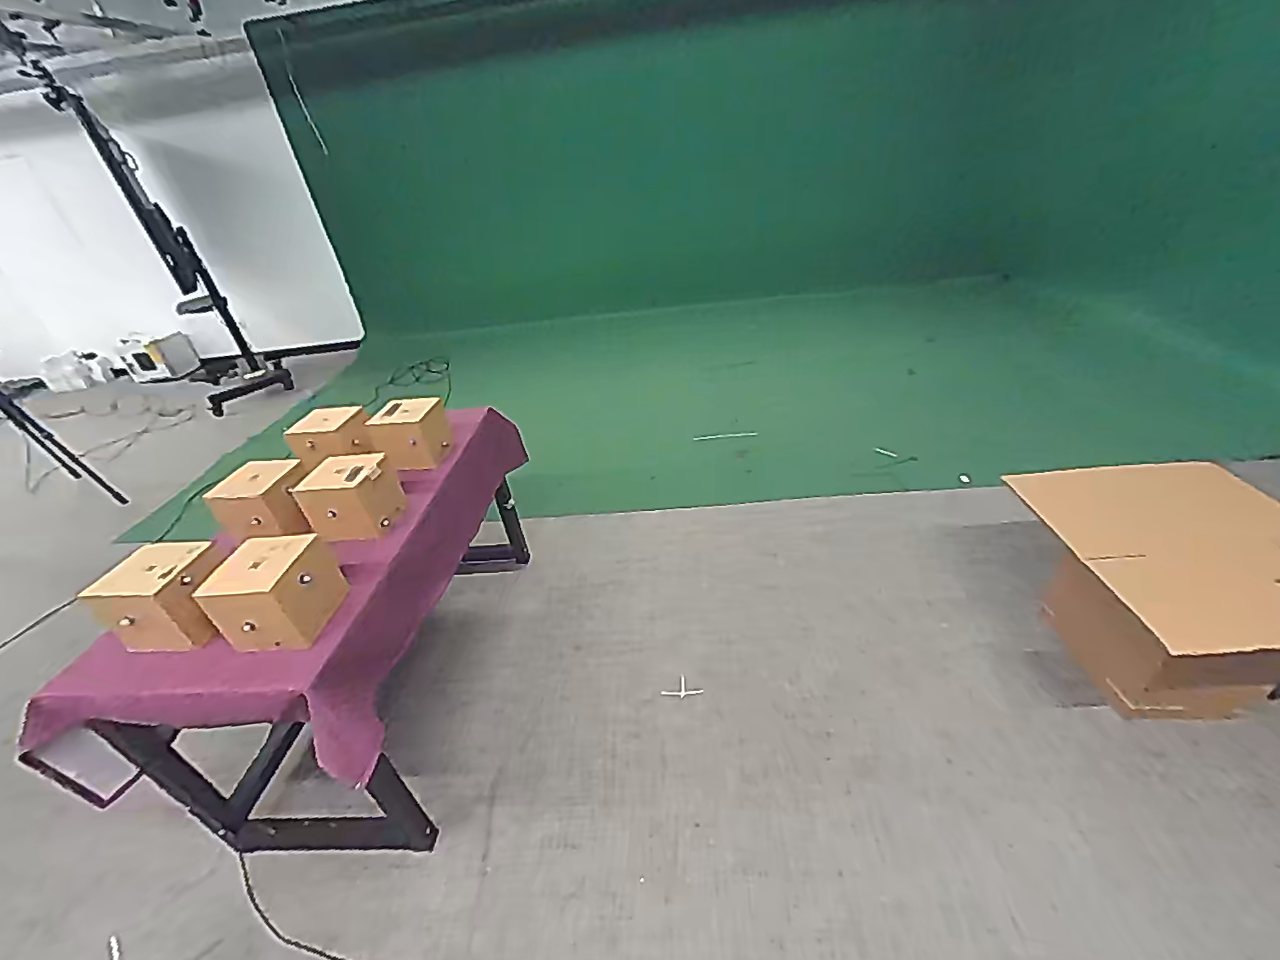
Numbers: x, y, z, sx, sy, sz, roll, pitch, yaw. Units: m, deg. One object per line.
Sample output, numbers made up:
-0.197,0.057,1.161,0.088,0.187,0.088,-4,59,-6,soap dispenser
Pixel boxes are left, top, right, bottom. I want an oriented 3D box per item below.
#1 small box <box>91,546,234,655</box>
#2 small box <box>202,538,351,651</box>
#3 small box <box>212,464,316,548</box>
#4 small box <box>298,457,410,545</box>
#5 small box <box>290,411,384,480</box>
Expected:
-1.008,0.266,1.185,0.179,0.176,0.168,-4,33,8,small box
-0.753,0.247,1.147,0.168,0.176,0.179,-5,33,7,small box
-0.993,0.076,1.474,0.168,0.176,0.179,-2,33,9,small box
-0.747,0.058,1.437,0.179,0.176,0.168,-5,33,9,small box
-0.967,-0.106,1.746,0.179,0.176,0.168,-4,34,10,small box
